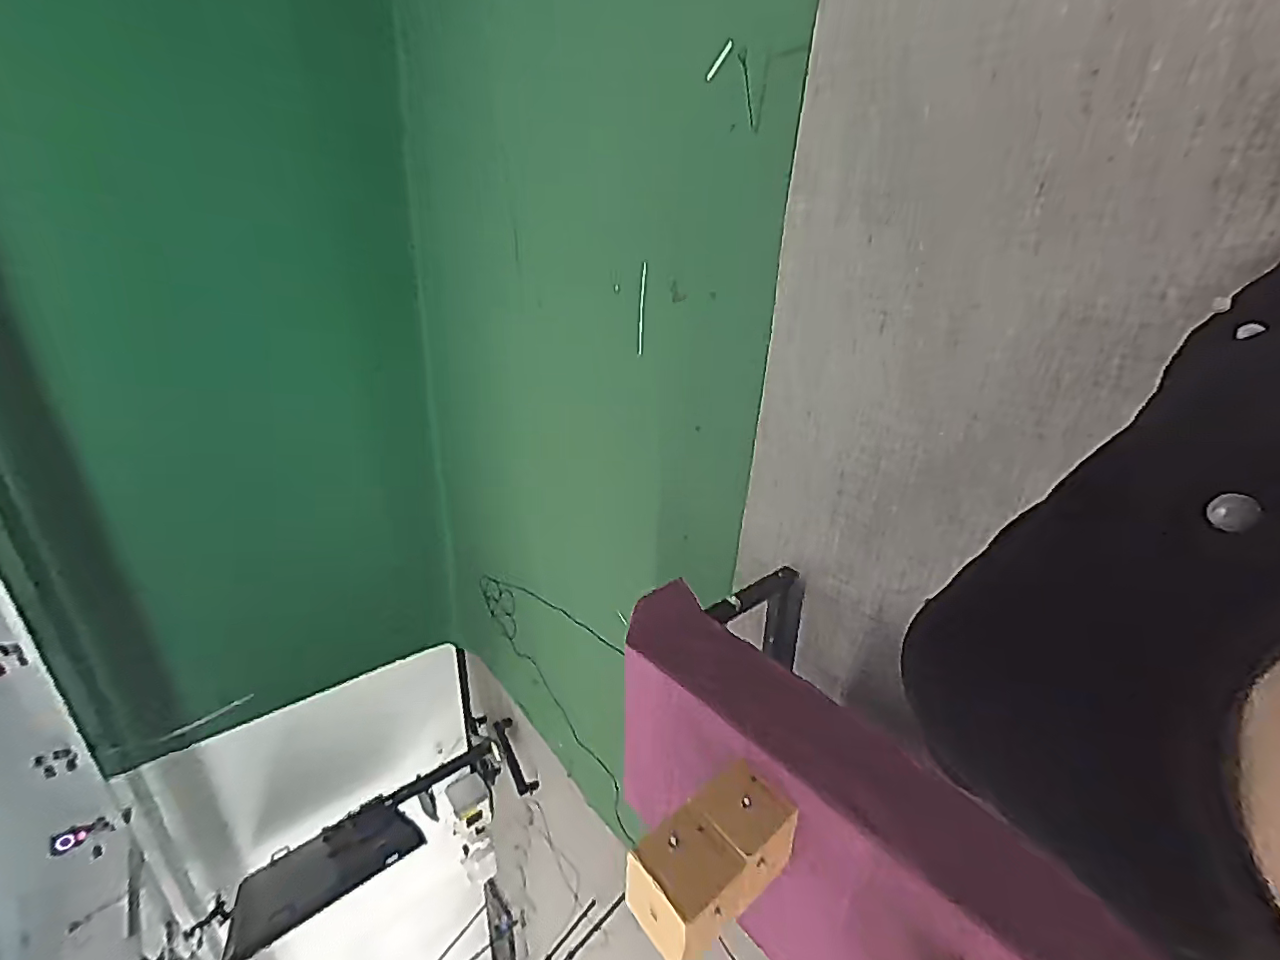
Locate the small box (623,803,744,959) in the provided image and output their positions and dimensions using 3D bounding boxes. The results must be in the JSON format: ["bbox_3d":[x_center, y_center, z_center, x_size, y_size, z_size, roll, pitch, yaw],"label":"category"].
[{"bbox_3d":[0.085,0.791,1.066,0.168,0.176,0.179,29,125,44],"label":"small box"}]

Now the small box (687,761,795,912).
[{"bbox_3d":[0.212,0.753,1.162,0.168,0.176,0.179,27,123,45],"label":"small box"}]
